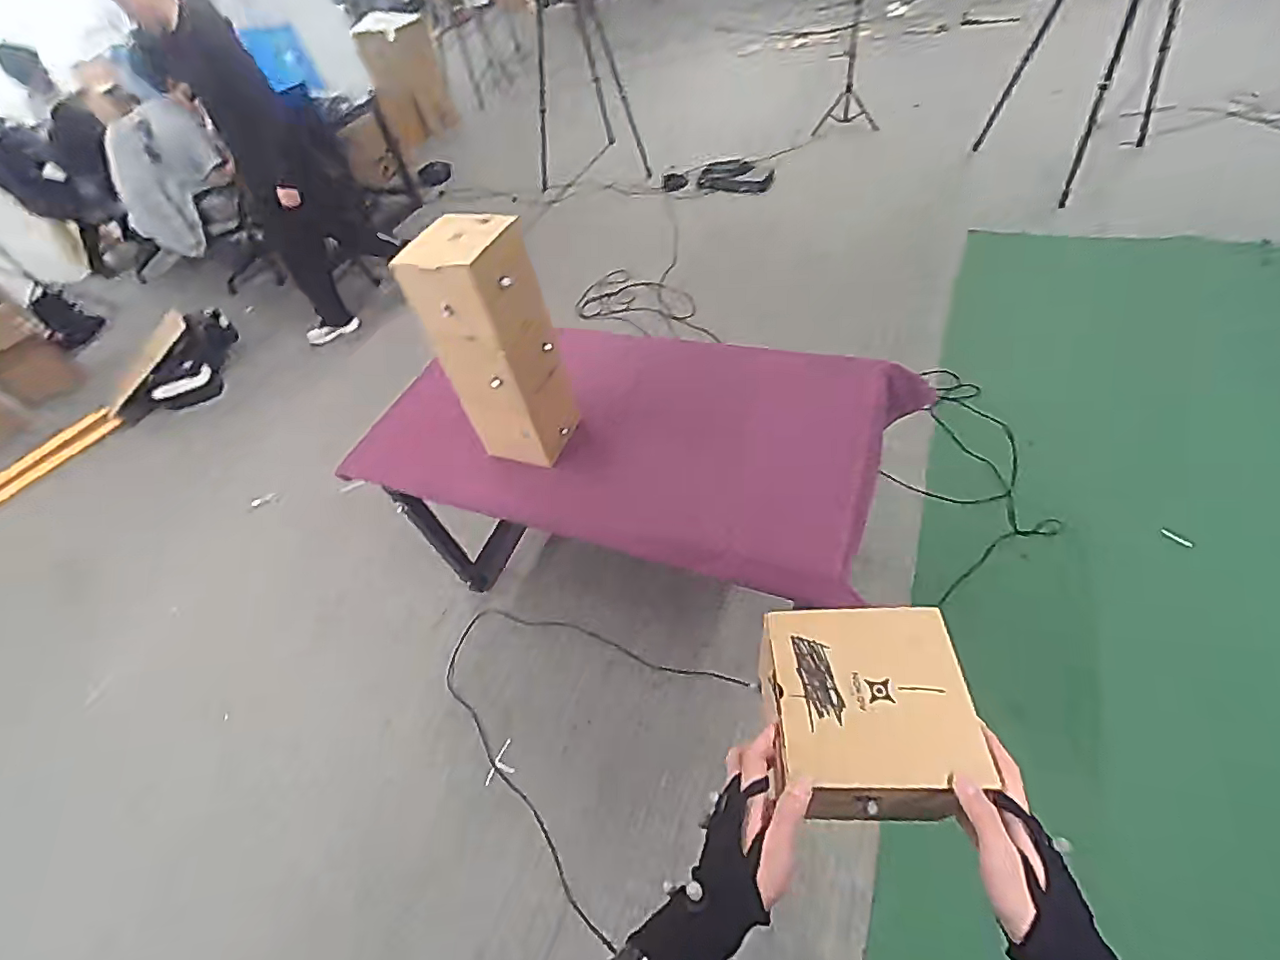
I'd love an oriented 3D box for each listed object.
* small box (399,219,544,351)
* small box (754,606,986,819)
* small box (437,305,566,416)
[{"bbox_3d":[-0.300,-0.363,1.010,0.168,0.176,0.179,12,54,19],"label":"small box"},{"bbox_3d":[0.214,0.247,0.566,0.179,0.176,0.168,-3,50,6],"label":"small box"},{"bbox_3d":[-0.277,-0.255,1.131,0.179,0.176,0.168,12,54,21],"label":"small box"}]
